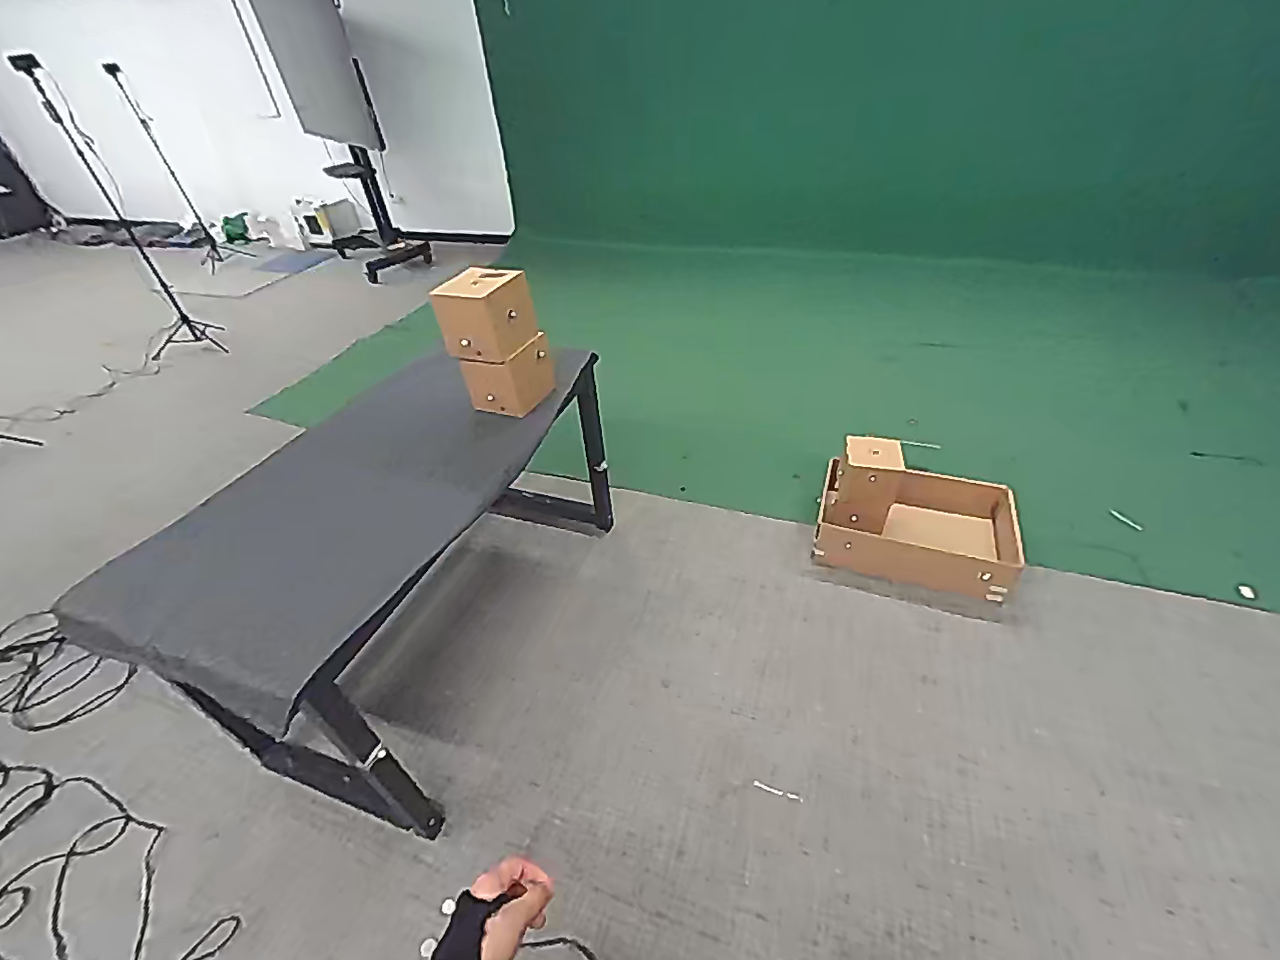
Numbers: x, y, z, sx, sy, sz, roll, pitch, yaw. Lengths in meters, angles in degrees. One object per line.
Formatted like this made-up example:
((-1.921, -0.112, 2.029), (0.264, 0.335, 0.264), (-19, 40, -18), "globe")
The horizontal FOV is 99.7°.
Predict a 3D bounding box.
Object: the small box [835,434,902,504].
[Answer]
((0.775, -0.035, 1.856), (0.179, 0.176, 0.168), (8, 43, 10), "small box")

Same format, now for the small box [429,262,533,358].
((-0.385, -0.426, 1.349), (0.168, 0.176, 0.179), (12, 44, 21), "small box")

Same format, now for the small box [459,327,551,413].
((-0.356, -0.306, 1.460), (0.168, 0.176, 0.179), (13, 44, 22), "small box")

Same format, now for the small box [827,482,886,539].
((0.787, 0.091, 1.961), (0.179, 0.176, 0.168), (13, 44, 19), "small box")
